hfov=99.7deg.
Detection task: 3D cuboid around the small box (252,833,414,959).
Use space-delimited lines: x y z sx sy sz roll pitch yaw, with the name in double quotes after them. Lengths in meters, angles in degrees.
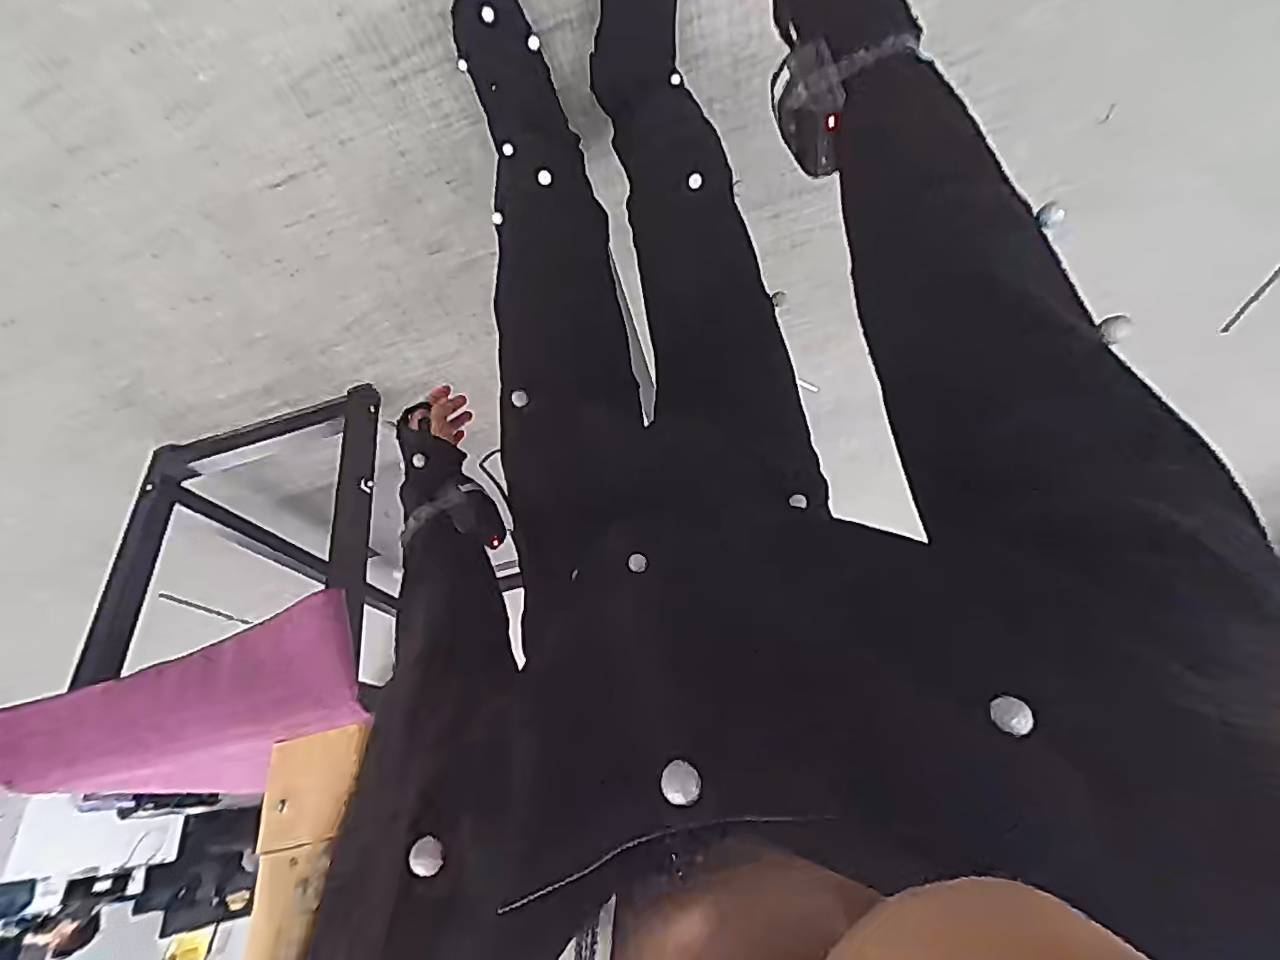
-0.487 0.693 0.885 0.168 0.176 0.179 -14 150 3 "small box"
